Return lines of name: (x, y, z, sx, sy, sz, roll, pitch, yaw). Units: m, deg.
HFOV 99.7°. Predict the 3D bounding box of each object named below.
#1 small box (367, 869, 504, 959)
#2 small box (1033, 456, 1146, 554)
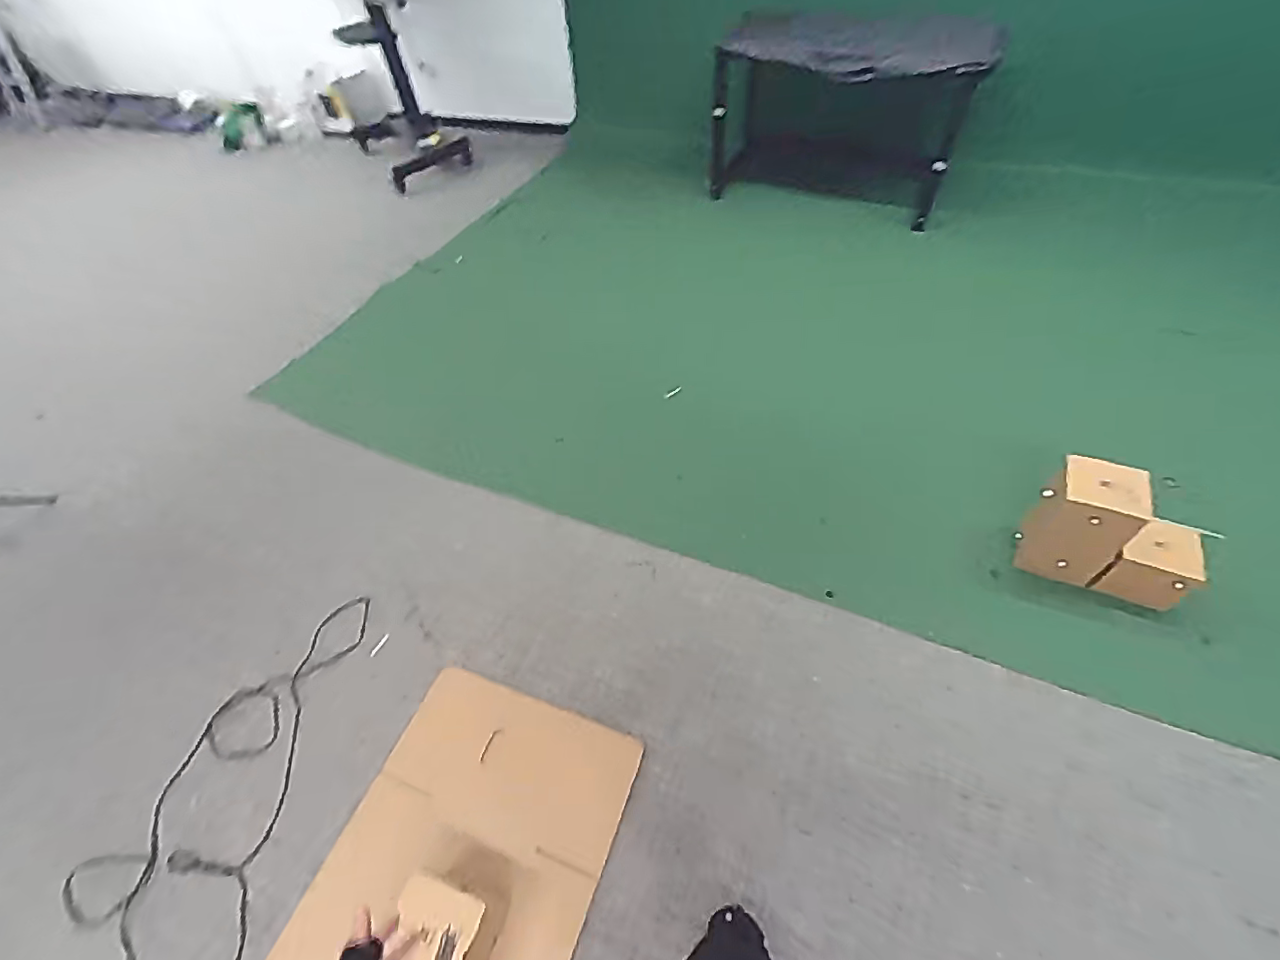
small box: (-0.398, 0.908, 1.082, 0.179, 0.176, 0.168, 13, 54, 16)
small box: (1.167, 0.069, 1.416, 0.179, 0.176, 0.168, 19, 56, 20)
